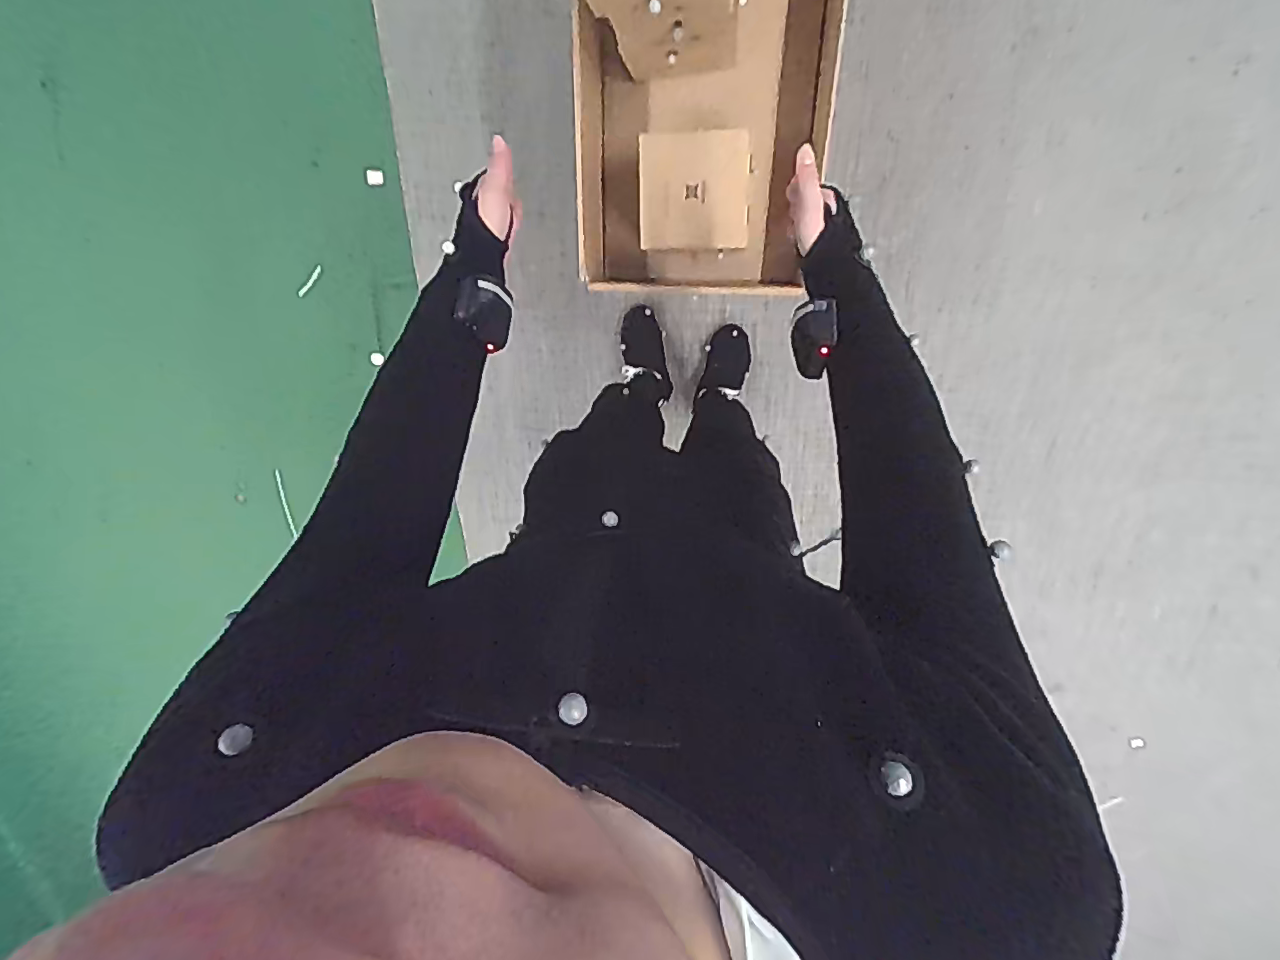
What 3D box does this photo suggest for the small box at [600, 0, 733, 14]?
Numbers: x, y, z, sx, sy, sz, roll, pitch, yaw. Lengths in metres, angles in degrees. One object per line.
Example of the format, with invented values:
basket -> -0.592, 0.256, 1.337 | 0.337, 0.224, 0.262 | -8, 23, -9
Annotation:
small box -> 0.018, -0.592, 0.521 | 0.168, 0.176, 0.179 | 6, 115, 8

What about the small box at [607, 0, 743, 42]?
small box -> 0.043, -0.672, 0.665 | 0.168, 0.176, 0.179 | -1, 113, 10
